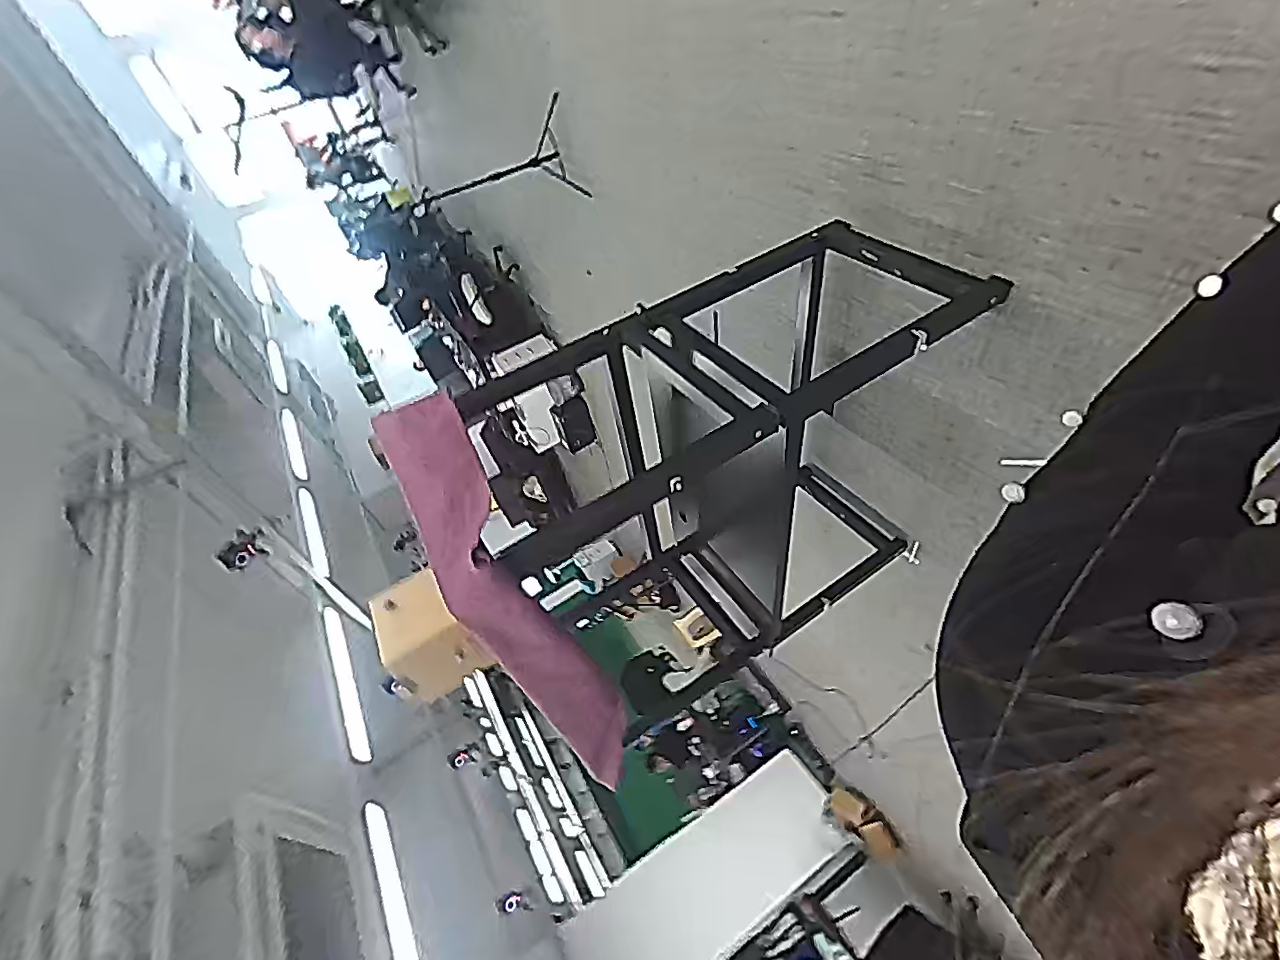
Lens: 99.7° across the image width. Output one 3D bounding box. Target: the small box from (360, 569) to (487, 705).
[{"bbox_3d":[-0.427,0.302,1.080,0.179,0.176,0.168,46,160,44],"label":"small box"}]
